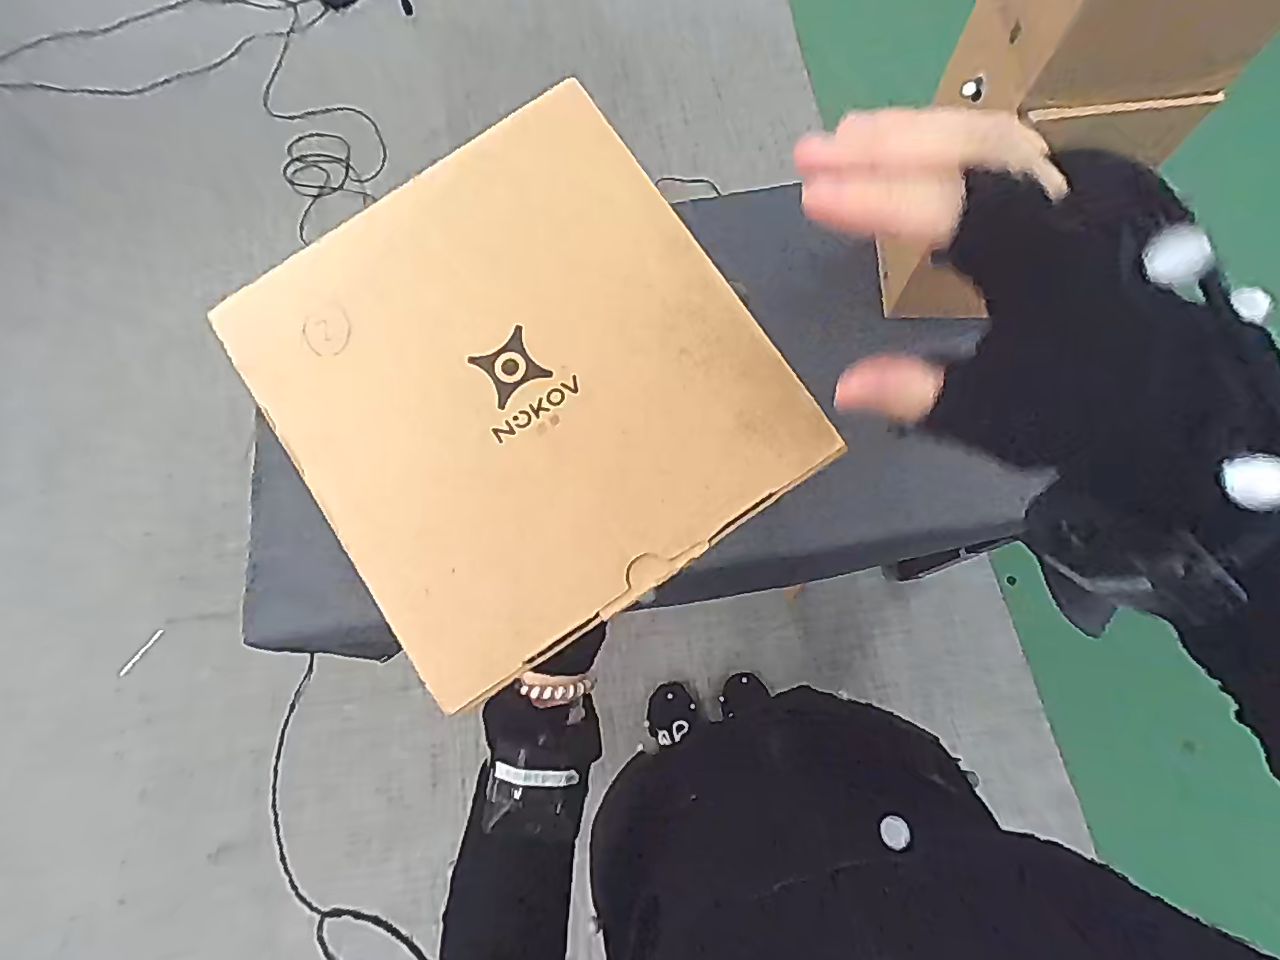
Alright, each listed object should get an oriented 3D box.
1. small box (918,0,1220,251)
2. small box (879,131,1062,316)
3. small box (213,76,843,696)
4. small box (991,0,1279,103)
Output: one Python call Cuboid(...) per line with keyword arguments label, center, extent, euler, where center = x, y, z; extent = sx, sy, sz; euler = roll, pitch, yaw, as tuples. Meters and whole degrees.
Cuboid(label="small box", center=(0.423, -0.376, 0.574), extent=(0.168, 0.176, 0.179), euler=(-4, 72, 3))
Cuboid(label="small box", center=(0.440, -0.340, 0.734), extent=(0.179, 0.176, 0.168), euler=(2, 71, 4))
Cuboid(label="small box", center=(-0.041, -0.031, 0.271), extent=(0.168, 0.176, 0.179), euler=(-34, 84, -2))
Cuboid(label="small box", center=(0.408, -0.431, 0.421), extent=(0.179, 0.176, 0.168), euler=(-1, 72, 4))
